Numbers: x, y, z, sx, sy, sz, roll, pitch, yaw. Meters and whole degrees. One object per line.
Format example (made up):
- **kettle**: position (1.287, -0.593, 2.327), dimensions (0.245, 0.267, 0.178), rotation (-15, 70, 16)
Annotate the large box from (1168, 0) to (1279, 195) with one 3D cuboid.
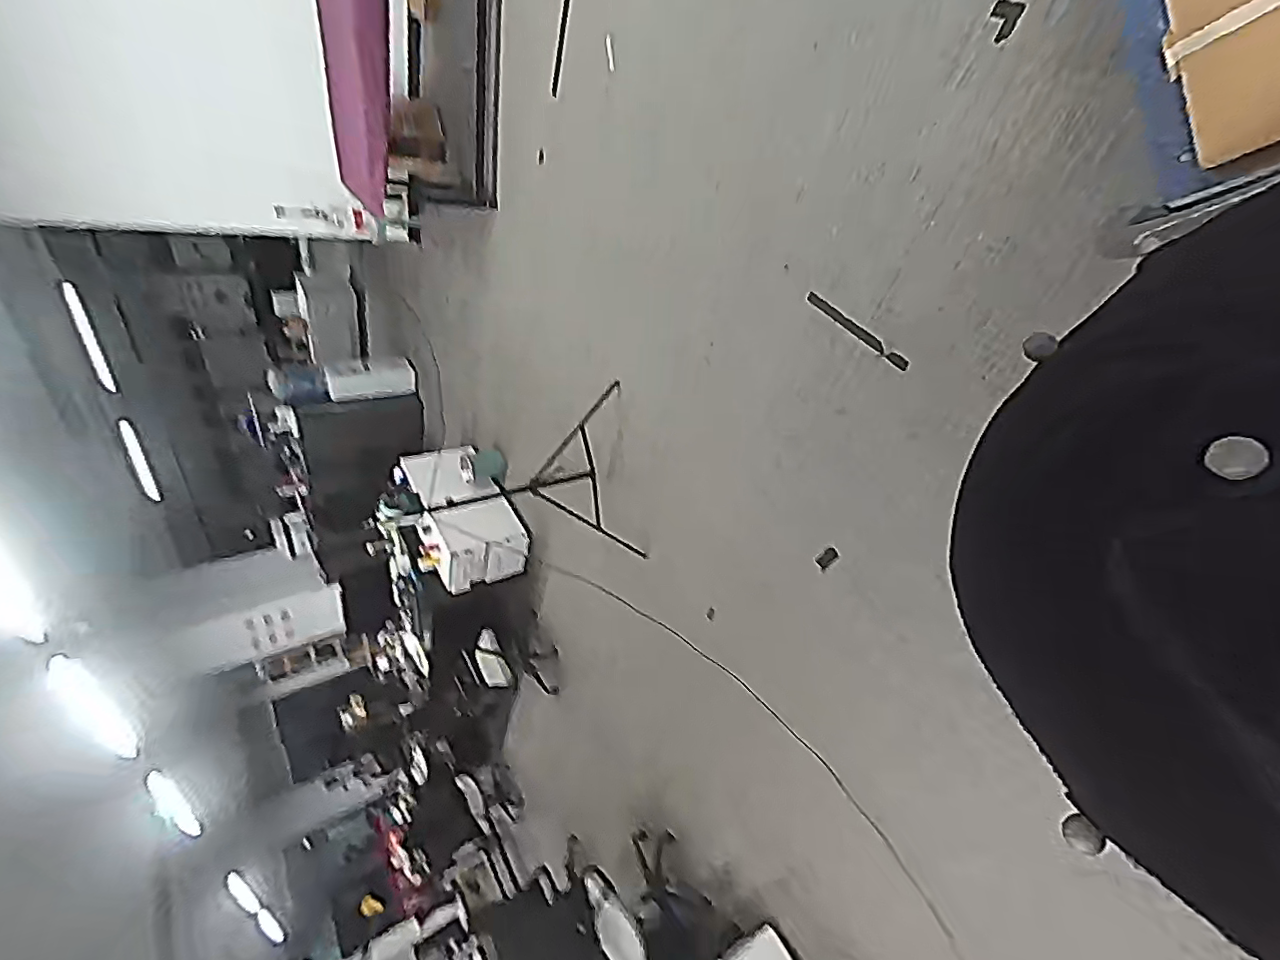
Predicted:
- **large box**: position (0.918, -0.590, 0.613), dimensions (0.408, 0.320, 0.320), rotation (-11, 94, 54)
